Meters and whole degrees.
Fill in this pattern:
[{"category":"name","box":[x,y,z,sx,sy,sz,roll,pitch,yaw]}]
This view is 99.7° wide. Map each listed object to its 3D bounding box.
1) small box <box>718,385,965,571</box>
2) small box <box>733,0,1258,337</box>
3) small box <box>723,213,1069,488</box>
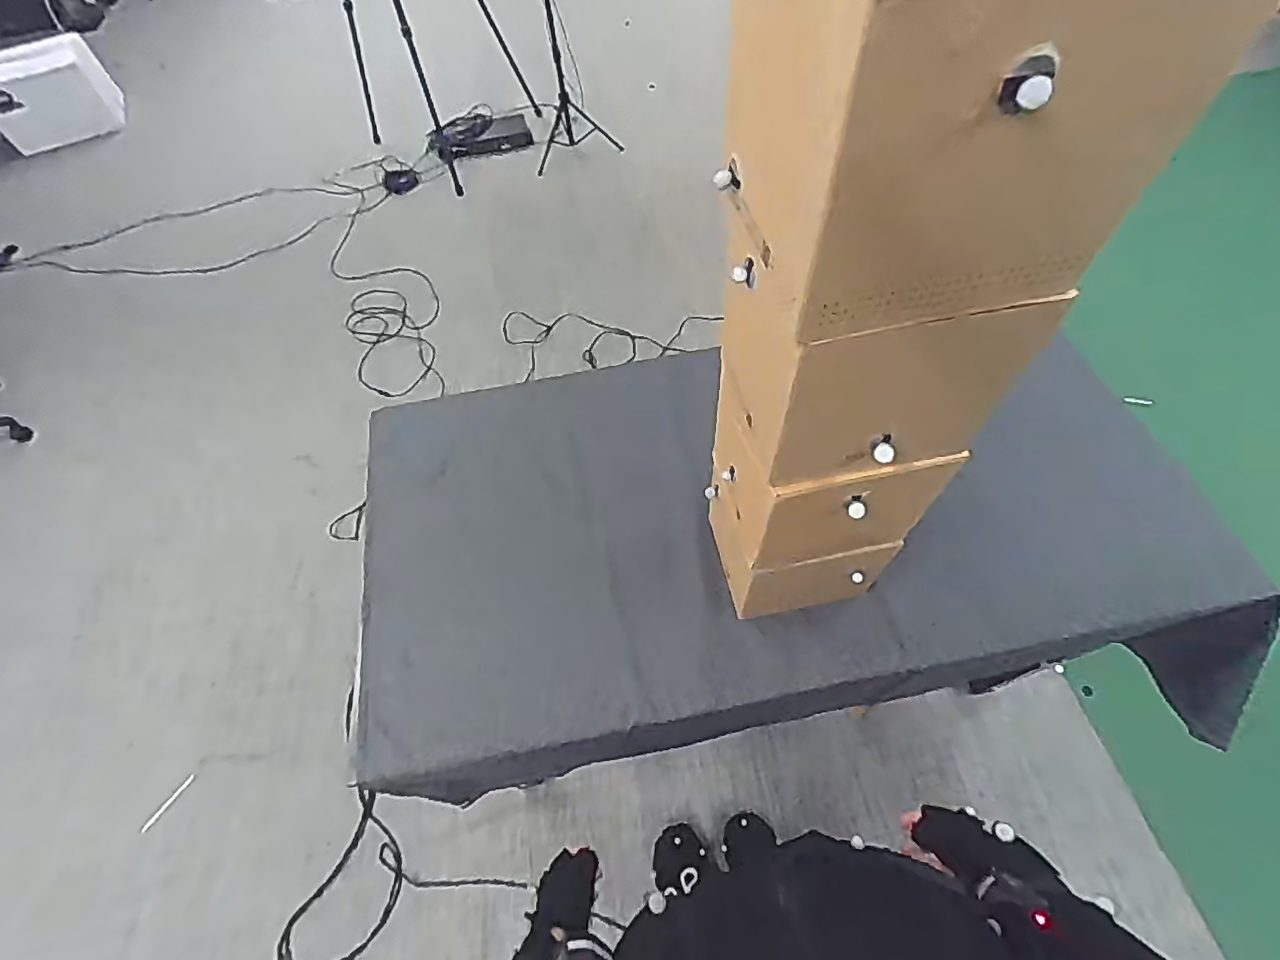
[{"category":"small box","box":[0.189,-0.021,0.573,0.179,0.176,0.168,-12,58,-2]},{"category":"small box","box":[0.155,-0.202,0.302,0.179,0.176,0.168,-11,58,-2]},{"category":"small box","box":[0.173,-0.112,0.439,0.179,0.176,0.168,-10,57,-1]}]
